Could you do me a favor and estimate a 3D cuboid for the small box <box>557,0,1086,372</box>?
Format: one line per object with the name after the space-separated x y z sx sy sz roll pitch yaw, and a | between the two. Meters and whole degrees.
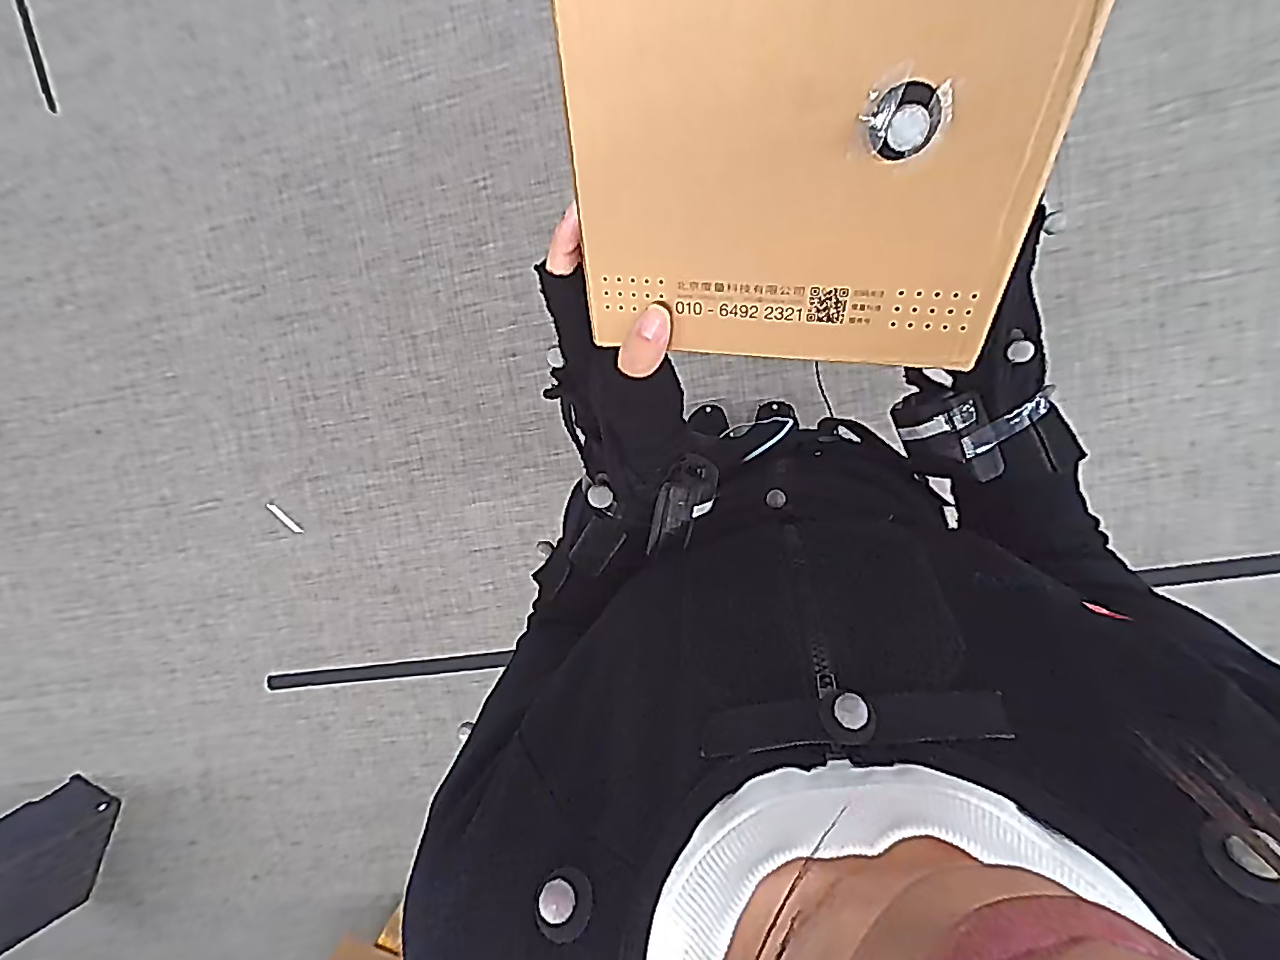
0.077 -0.167 0.256 0.168 0.179 0.176 8 132 14 | small box
